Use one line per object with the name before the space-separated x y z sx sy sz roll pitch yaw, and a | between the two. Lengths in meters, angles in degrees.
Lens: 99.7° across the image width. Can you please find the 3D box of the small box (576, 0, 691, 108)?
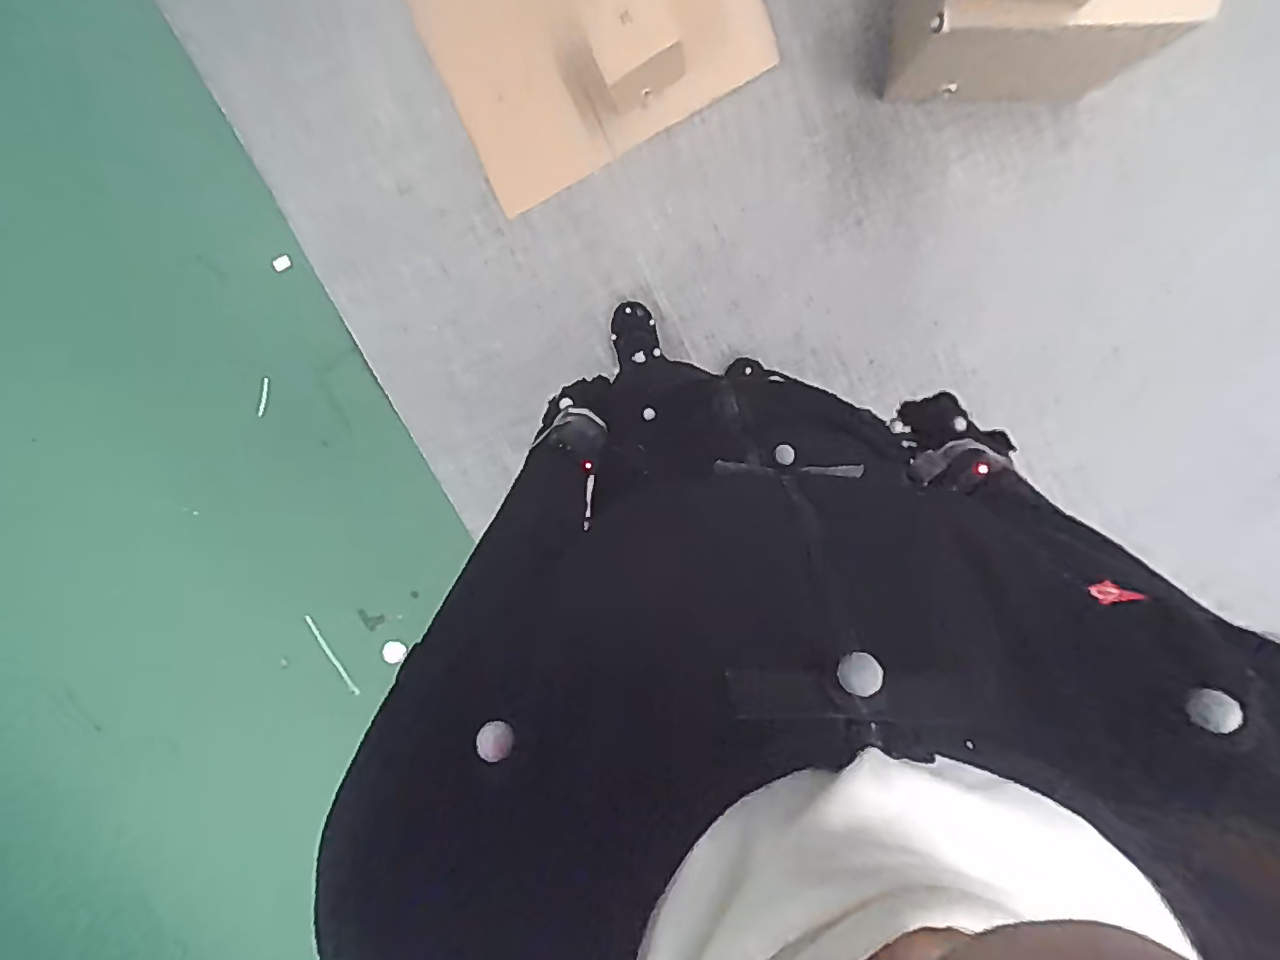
small box | -0.008 -0.913 1.102 0.168 0.176 0.179 -24 102 17
